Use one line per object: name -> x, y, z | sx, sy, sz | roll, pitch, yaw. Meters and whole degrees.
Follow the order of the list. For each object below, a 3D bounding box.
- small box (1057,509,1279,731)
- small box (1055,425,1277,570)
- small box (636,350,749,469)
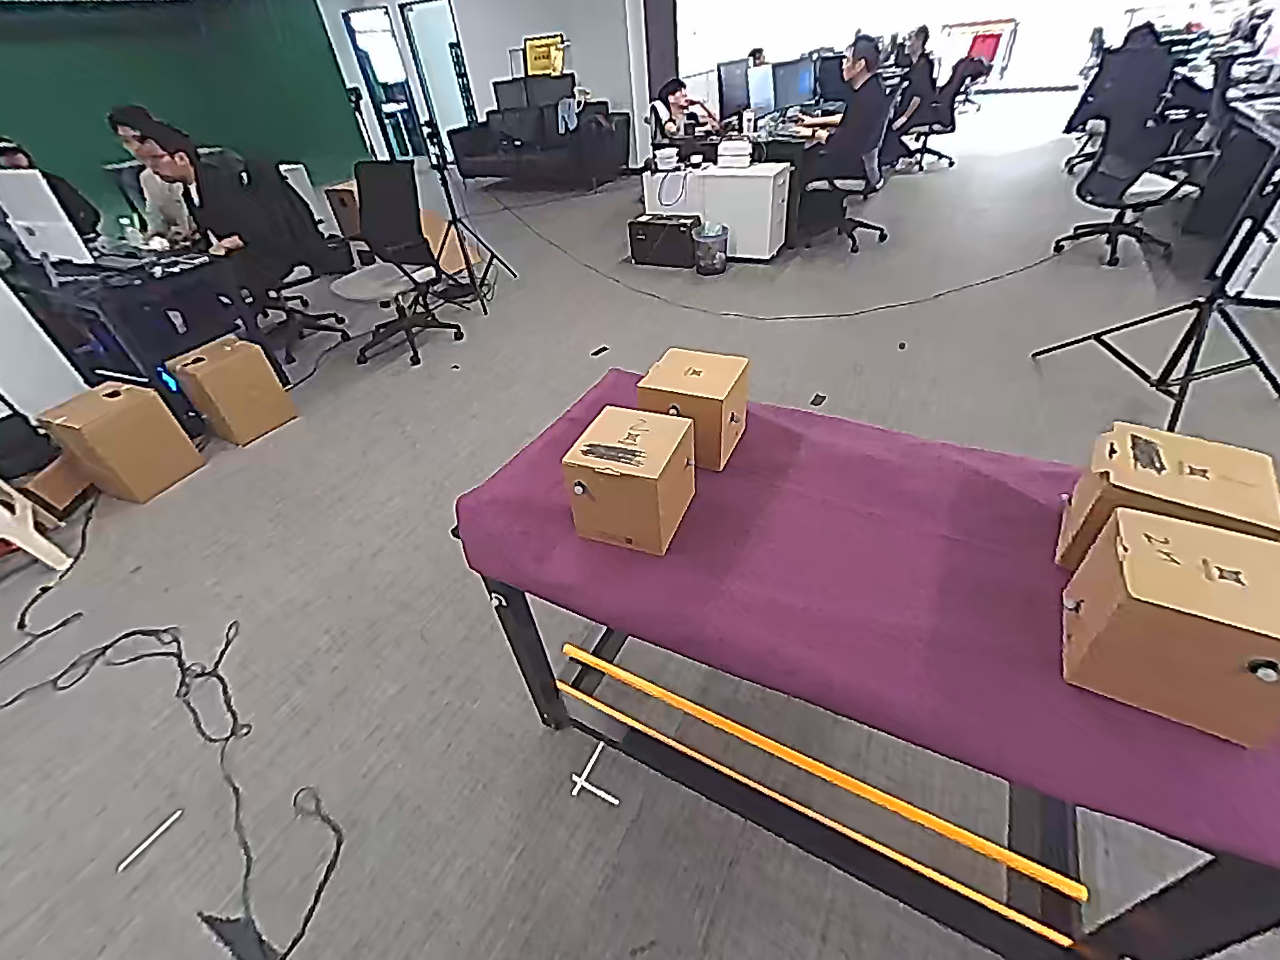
small box -> 0.640, 0.167, 0.648 | 0.179, 0.176, 0.168 | 17, 43, 27
small box -> 0.736, 0.050, 0.779 | 0.179, 0.176, 0.168 | 22, 48, 28
small box -> 0.110, -0.142, 1.099 | 0.179, 0.176, 0.168 | 13, 43, 22
